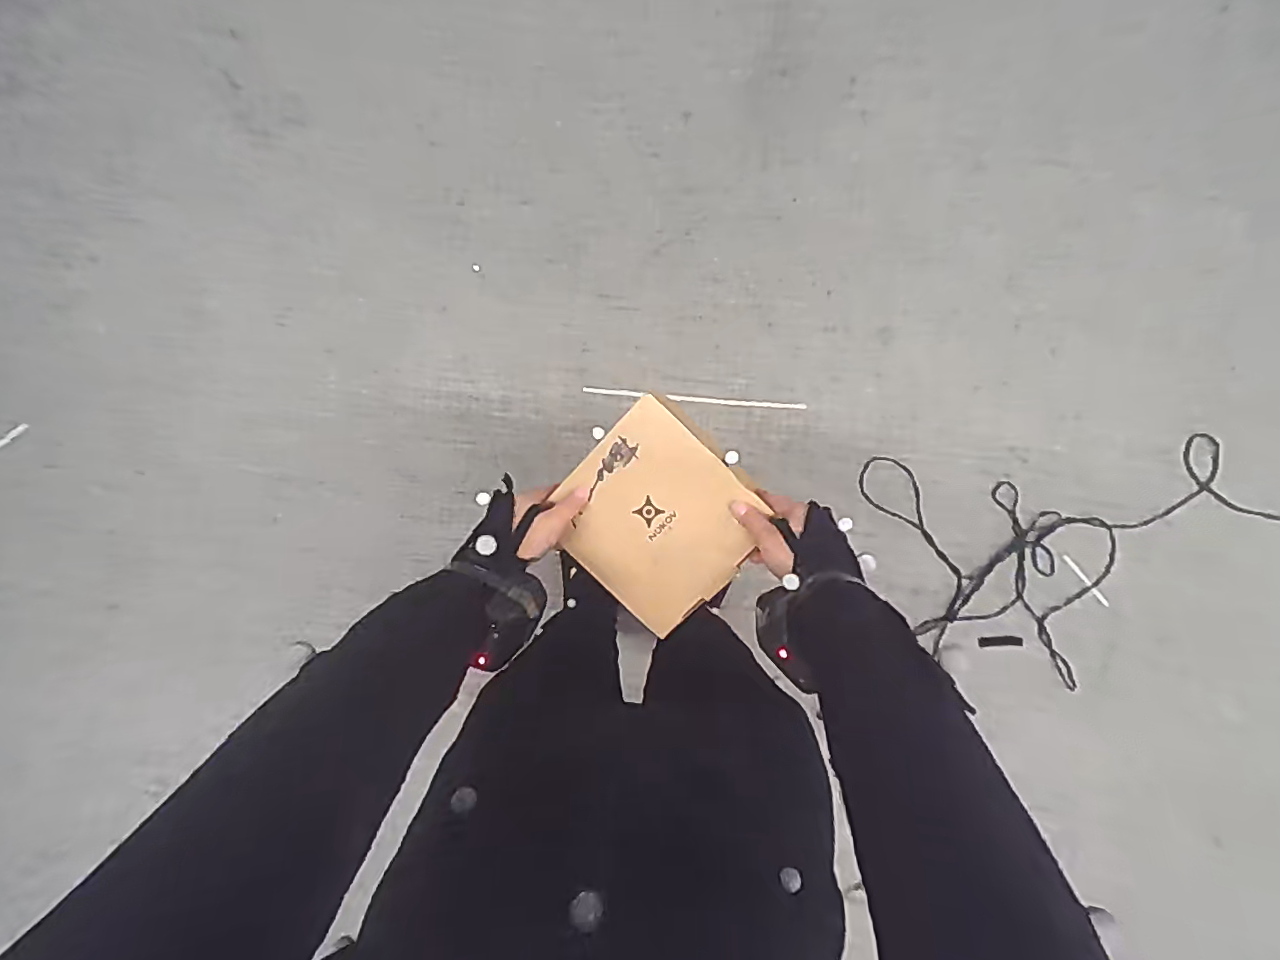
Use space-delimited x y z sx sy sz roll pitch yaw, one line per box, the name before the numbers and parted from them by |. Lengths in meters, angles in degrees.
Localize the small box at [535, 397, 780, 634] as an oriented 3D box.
small box | 0.023 0.025 0.586 0.179 0.176 0.168 45 99 -1
